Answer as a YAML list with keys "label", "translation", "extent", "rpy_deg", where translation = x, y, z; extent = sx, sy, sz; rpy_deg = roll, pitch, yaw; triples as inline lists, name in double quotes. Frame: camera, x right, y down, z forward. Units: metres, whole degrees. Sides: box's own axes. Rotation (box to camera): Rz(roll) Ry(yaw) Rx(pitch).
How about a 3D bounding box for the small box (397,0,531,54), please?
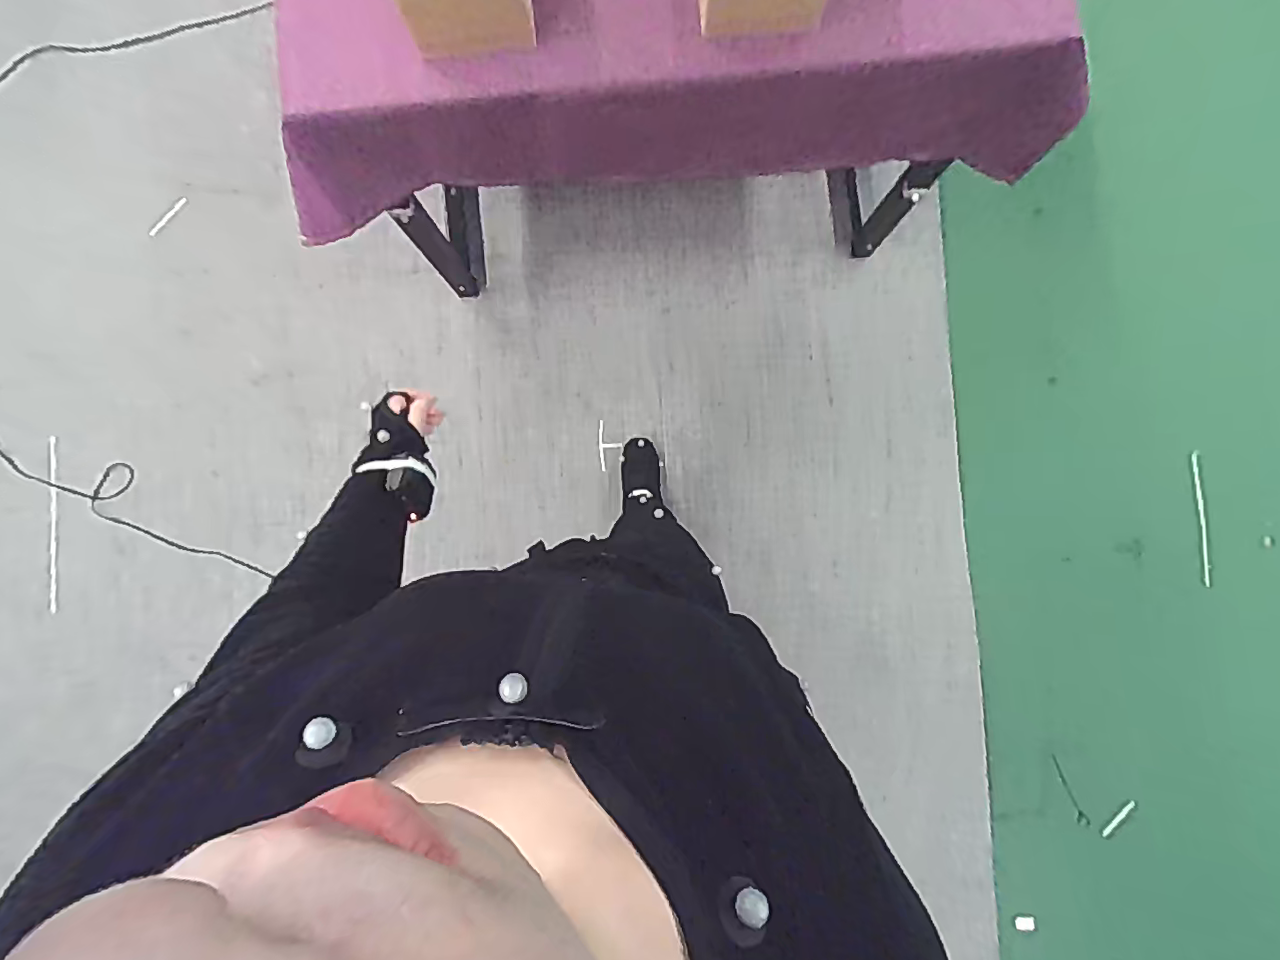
- label: "small box"
  translation: [-0.248, -0.726, 0.735]
  extent: [0.179, 0.176, 0.168]
  rpy_deg: [-6, 86, -1]

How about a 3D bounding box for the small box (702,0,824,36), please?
- label: "small box"
  translation: [0.175, -0.753, 0.738]
  extent: [0.179, 0.176, 0.168]
  rpy_deg: [-3, 87, -1]
